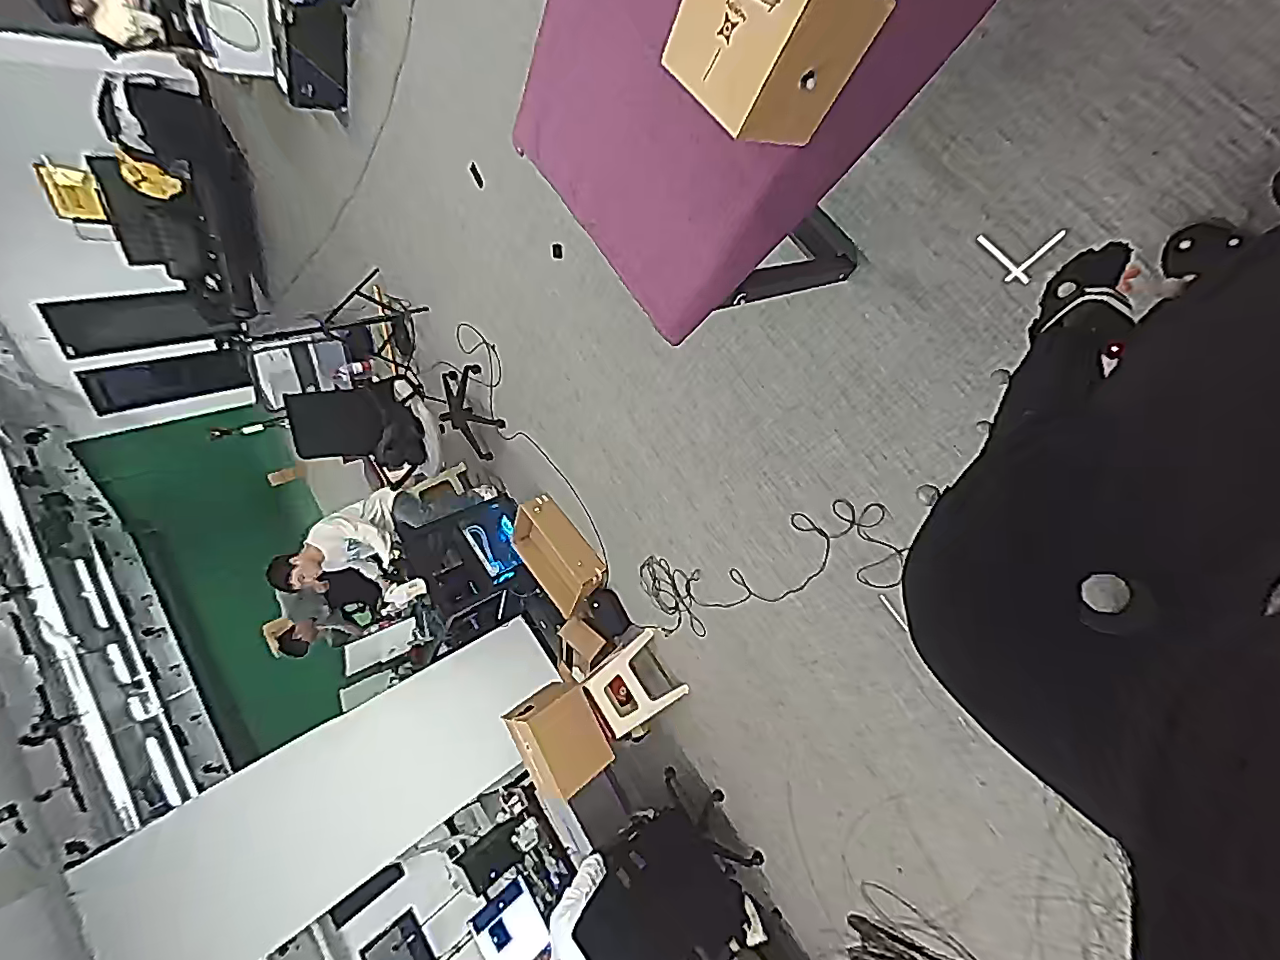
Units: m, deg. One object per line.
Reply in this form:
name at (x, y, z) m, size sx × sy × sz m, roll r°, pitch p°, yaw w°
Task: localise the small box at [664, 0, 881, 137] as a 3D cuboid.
small box at (0.167, -0.561, 0.670) m, size 0.168 × 0.176 × 0.179 m, roll 55°, pitch 143°, yaw 15°
